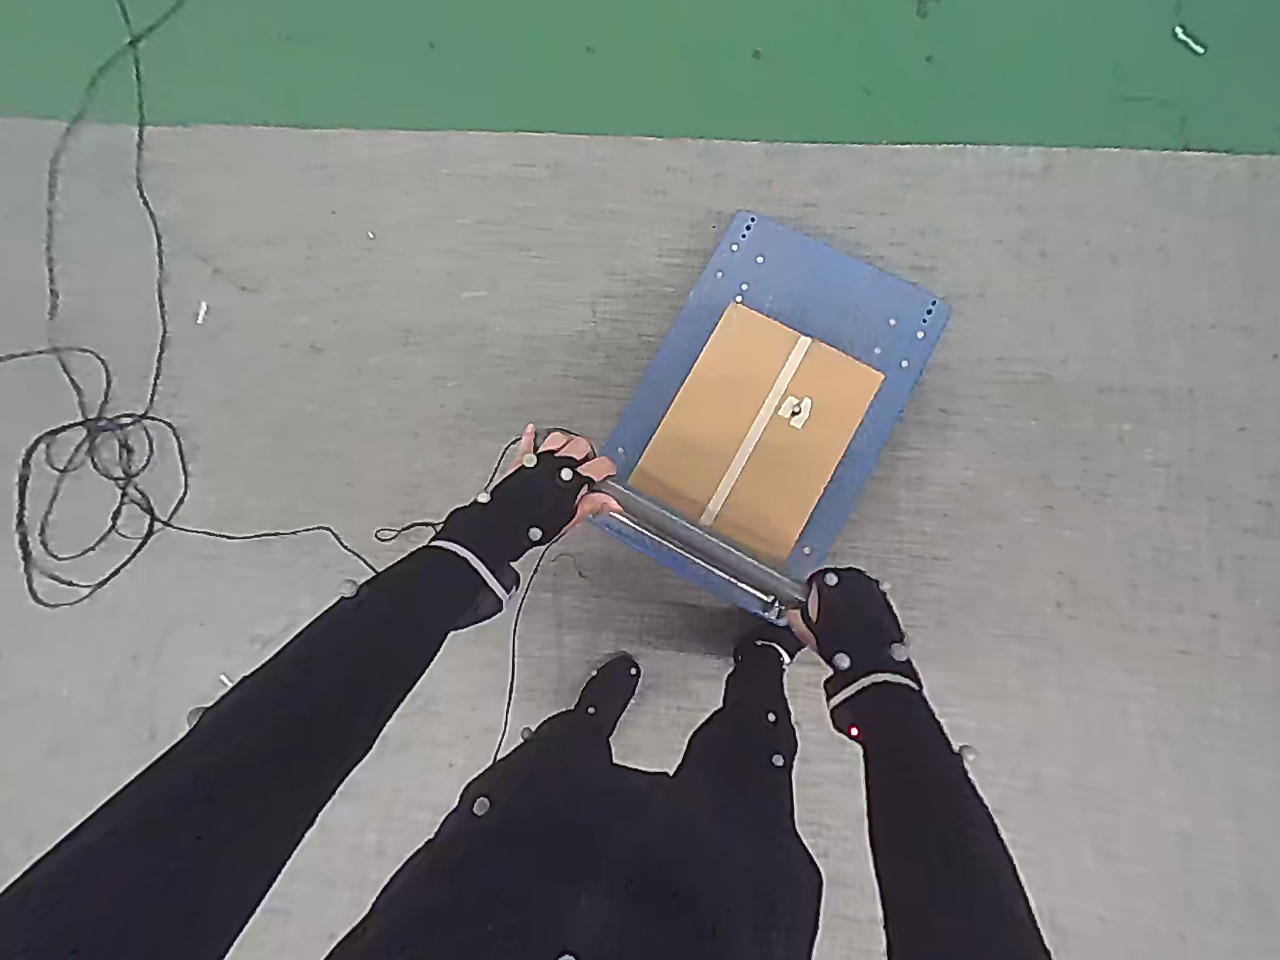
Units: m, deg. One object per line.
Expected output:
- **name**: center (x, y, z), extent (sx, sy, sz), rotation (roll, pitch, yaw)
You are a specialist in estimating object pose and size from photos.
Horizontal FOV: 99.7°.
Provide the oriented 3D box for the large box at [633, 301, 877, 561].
- **large box**: center (0.219, -0.074, 1.125), extent (0.320, 0.320, 0.408), rotation (28, 85, 7)
